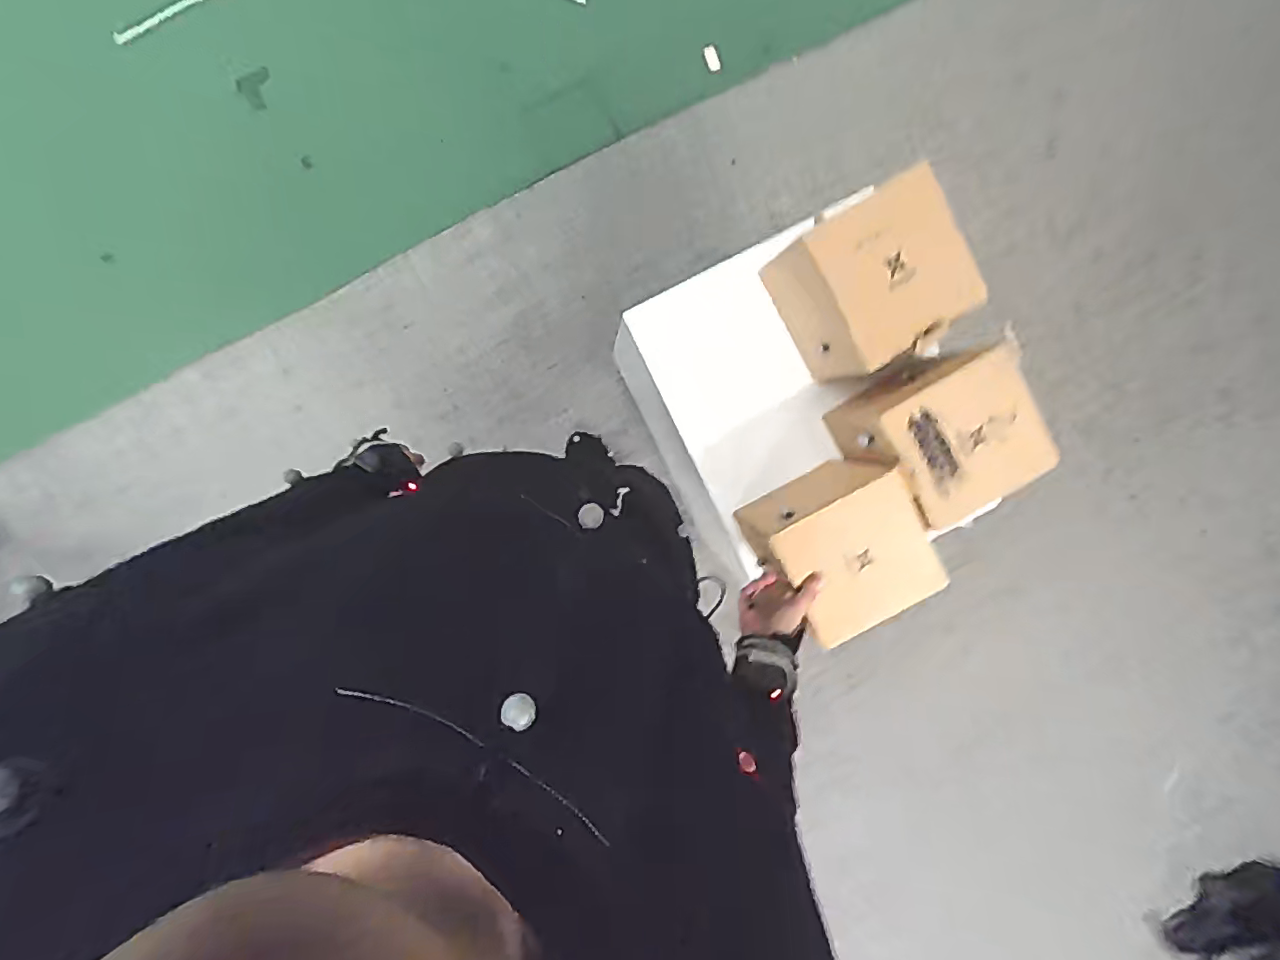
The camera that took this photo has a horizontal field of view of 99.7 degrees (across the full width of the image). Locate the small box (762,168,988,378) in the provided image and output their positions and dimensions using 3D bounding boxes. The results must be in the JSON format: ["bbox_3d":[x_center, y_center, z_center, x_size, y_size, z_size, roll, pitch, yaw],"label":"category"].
[{"bbox_3d":[0.283,-0.243,0.686,0.168,0.176,0.179,-31,99,-1],"label":"small box"}]

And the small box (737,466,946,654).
[{"bbox_3d":[0.256,0.093,0.724,0.179,0.176,0.168,-28,98,-1],"label":"small box"}]
